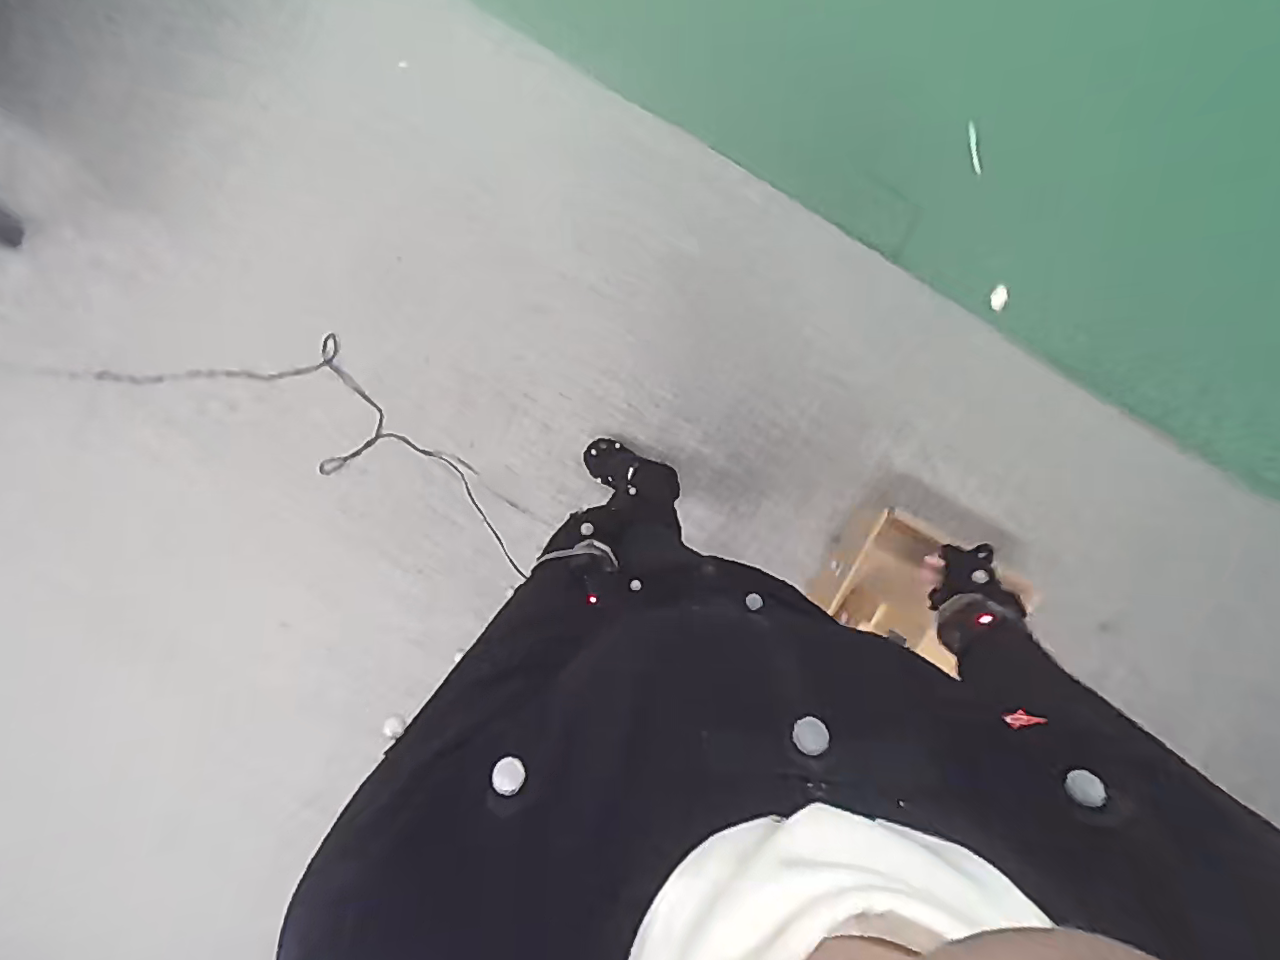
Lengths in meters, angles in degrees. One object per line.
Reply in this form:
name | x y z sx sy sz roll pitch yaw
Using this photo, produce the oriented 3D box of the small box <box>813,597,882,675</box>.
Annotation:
small box | 0.544 0.399 1.287 0.179 0.176 0.168 36 93 -1
